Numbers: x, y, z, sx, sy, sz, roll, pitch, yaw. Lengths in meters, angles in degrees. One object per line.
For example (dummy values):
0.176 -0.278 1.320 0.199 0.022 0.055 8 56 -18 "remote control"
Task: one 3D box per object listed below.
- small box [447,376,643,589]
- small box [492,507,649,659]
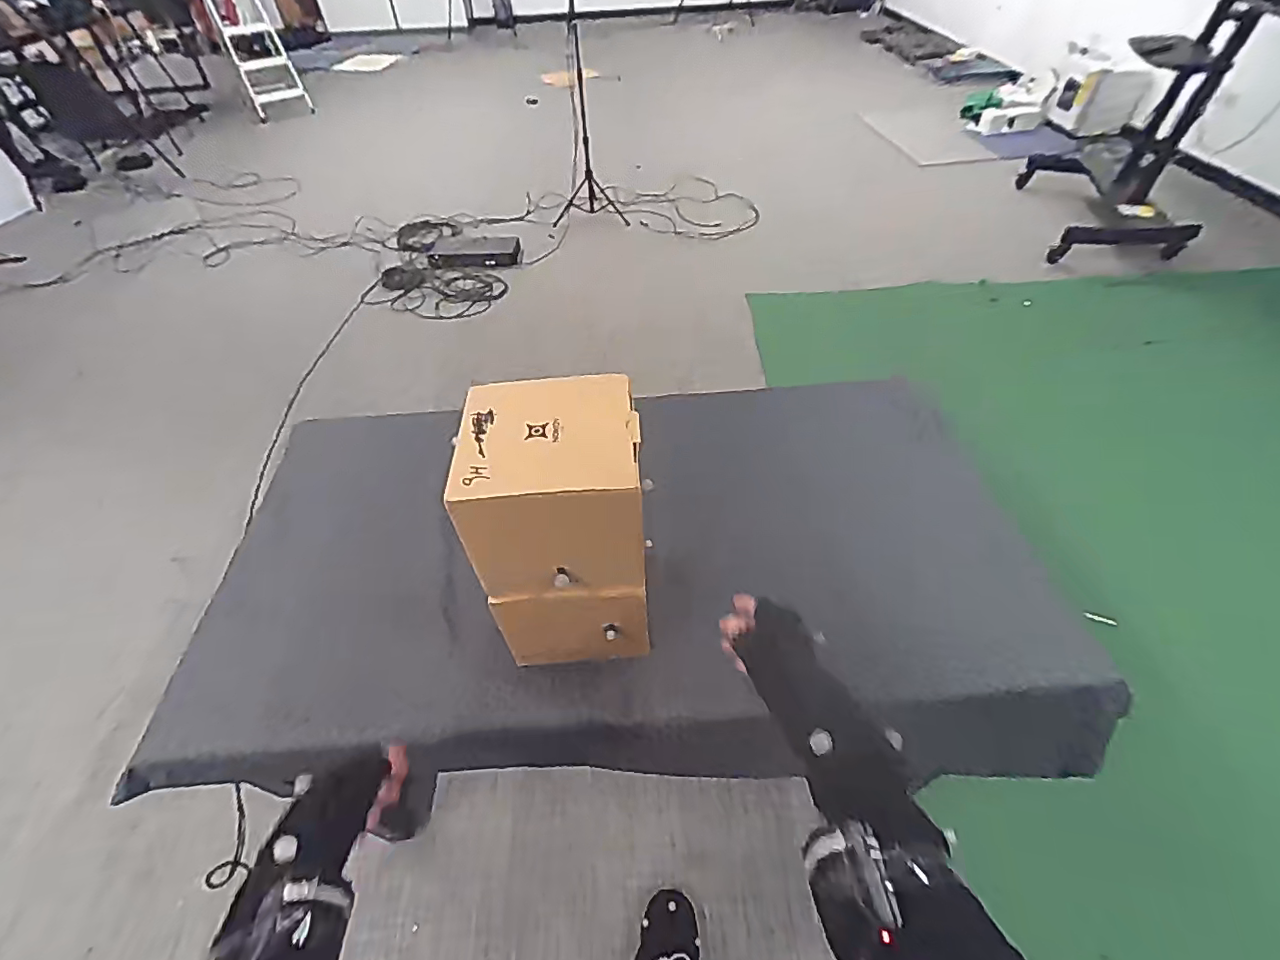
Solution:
-0.088 0.006 0.594 0.179 0.176 0.168 -3 48 -1 "small box"
-0.079 0.120 0.711 0.179 0.176 0.168 -6 48 0 "small box"
